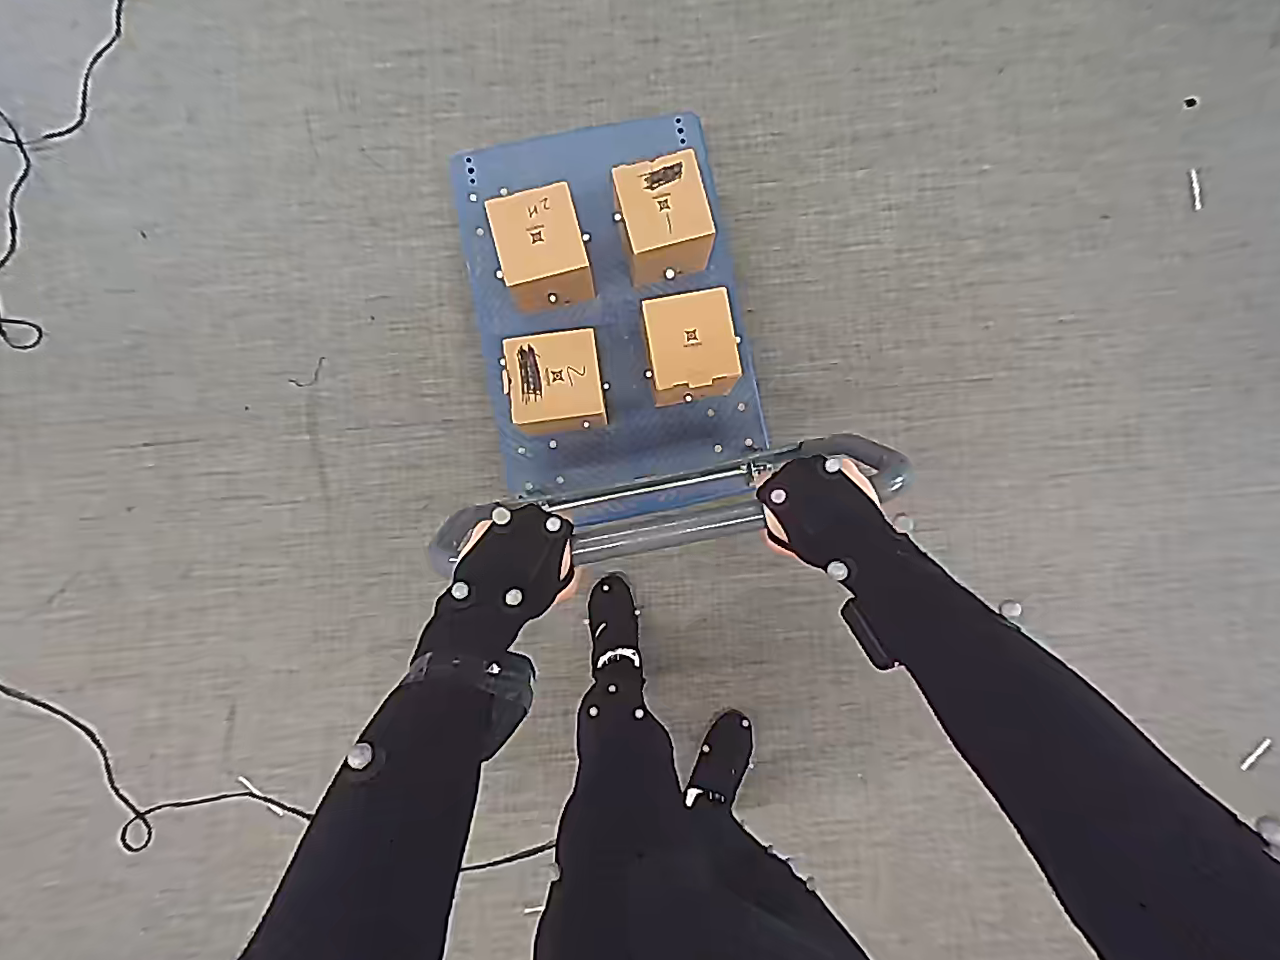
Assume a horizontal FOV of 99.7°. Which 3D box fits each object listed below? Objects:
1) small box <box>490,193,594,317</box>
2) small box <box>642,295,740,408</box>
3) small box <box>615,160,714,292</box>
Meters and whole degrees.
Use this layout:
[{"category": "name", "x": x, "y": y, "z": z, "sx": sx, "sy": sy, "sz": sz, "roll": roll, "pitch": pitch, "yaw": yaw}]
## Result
[{"category": "small box", "x": -0.197, "y": -0.460, "z": 1.137, "sx": 0.168, "sy": 0.176, "sz": 0.179, "roll": -15, "pitch": 87, "yaw": -2}, {"category": "small box", "x": 0.099, "y": -0.261, "z": 1.129, "sx": 0.168, "sy": 0.176, "sz": 0.179, "roll": -10, "pitch": 88, "yaw": -1}, {"category": "small box", "x": 0.046, "y": -0.526, "z": 1.141, "sx": 0.168, "sy": 0.176, "sz": 0.179, "roll": -15, "pitch": 88, "yaw": 0}]
